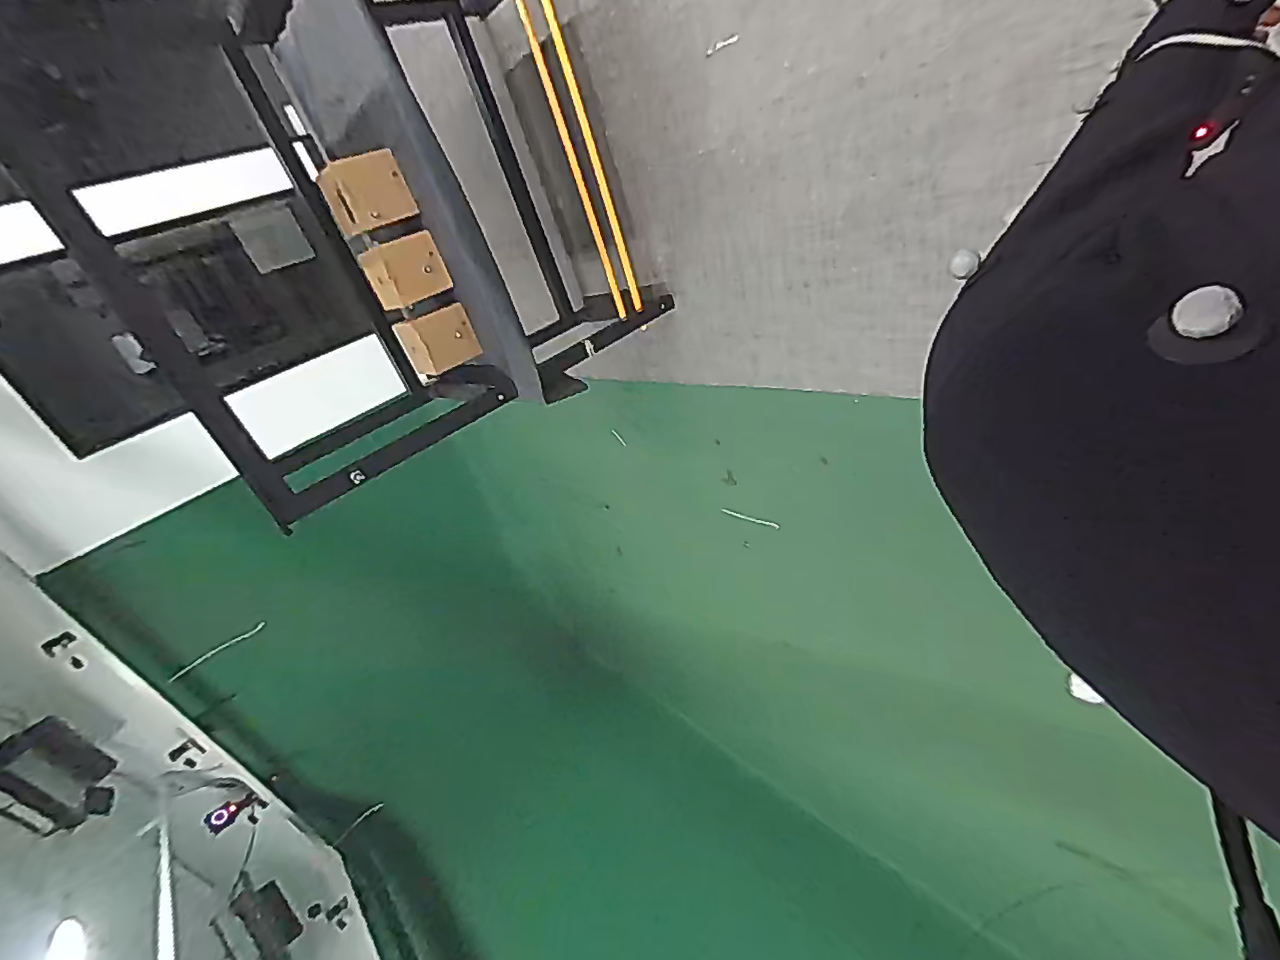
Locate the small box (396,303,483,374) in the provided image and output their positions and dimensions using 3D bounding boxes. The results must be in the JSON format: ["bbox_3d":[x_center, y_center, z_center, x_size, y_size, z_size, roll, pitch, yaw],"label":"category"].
[{"bbox_3d":[-0.624,-0.443,1.695,0.179,0.176,0.168,14,133,48],"label":"small box"}]
